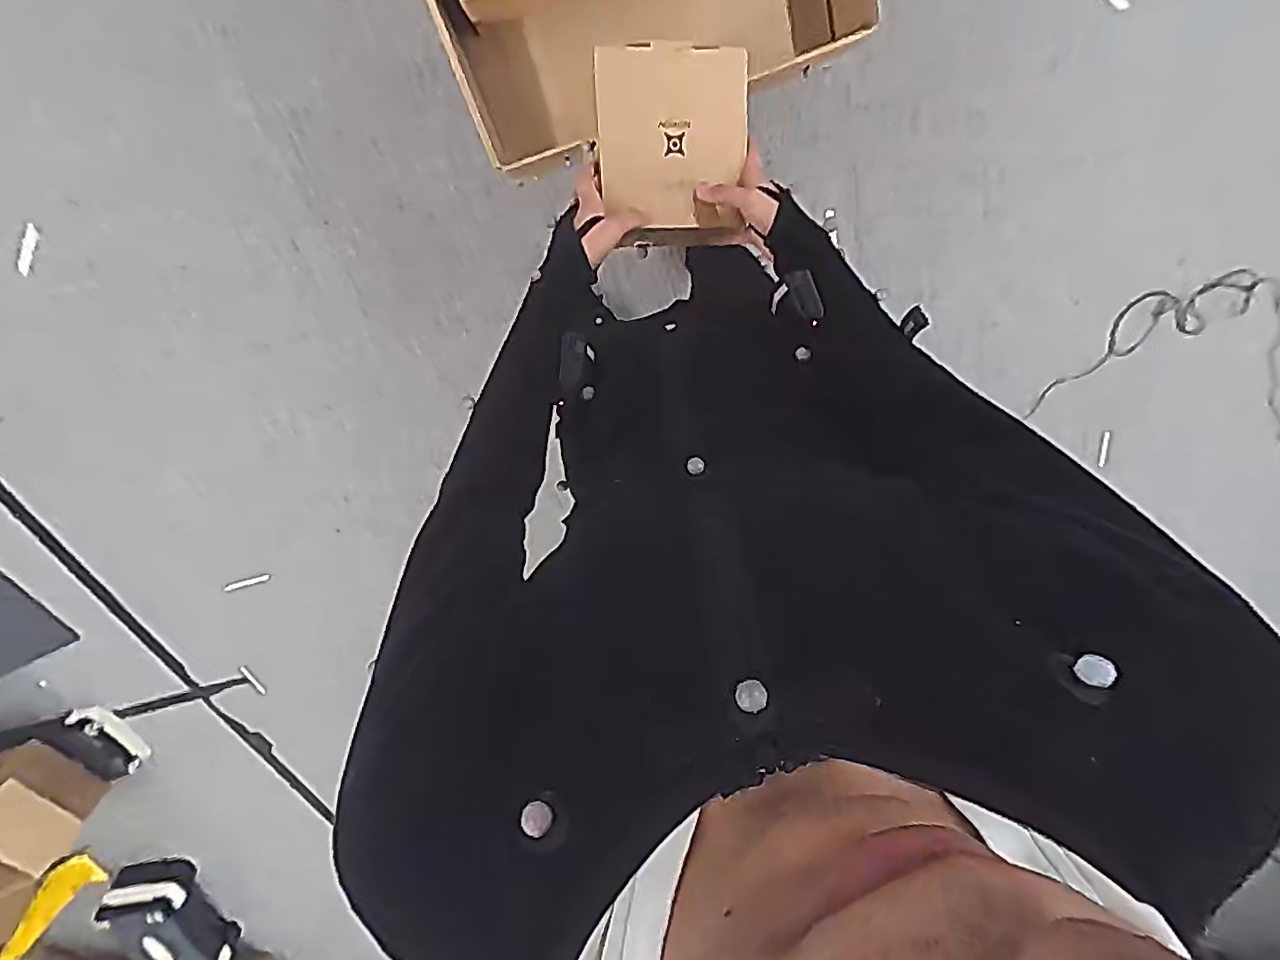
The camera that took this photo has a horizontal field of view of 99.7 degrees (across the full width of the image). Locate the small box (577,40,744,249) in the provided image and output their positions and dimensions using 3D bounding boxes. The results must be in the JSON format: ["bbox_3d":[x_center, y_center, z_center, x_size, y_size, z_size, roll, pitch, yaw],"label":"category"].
[{"bbox_3d":[0.017,-0.386,0.651,0.168,0.176,0.179,-6,107,-9],"label":"small box"}]
